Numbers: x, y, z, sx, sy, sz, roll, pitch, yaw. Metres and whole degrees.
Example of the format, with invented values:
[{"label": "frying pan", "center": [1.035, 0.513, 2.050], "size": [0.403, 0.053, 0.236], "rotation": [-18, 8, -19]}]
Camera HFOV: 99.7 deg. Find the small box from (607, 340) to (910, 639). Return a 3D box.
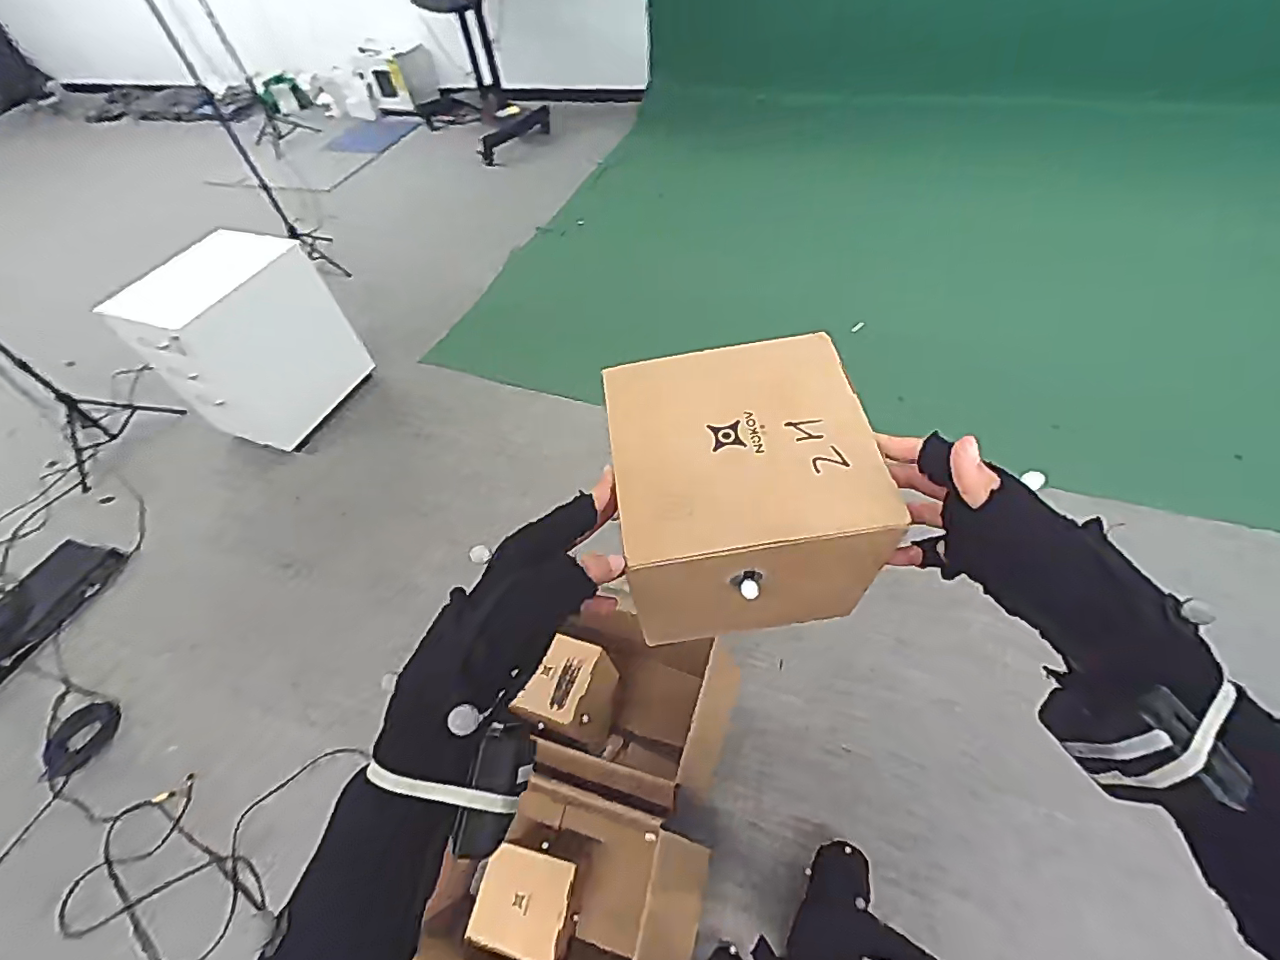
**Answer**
[{"label": "small box", "center": [0.077, 0.017, 0.433], "size": [0.179, 0.176, 0.168], "rotation": [-8, 57, 1]}]
